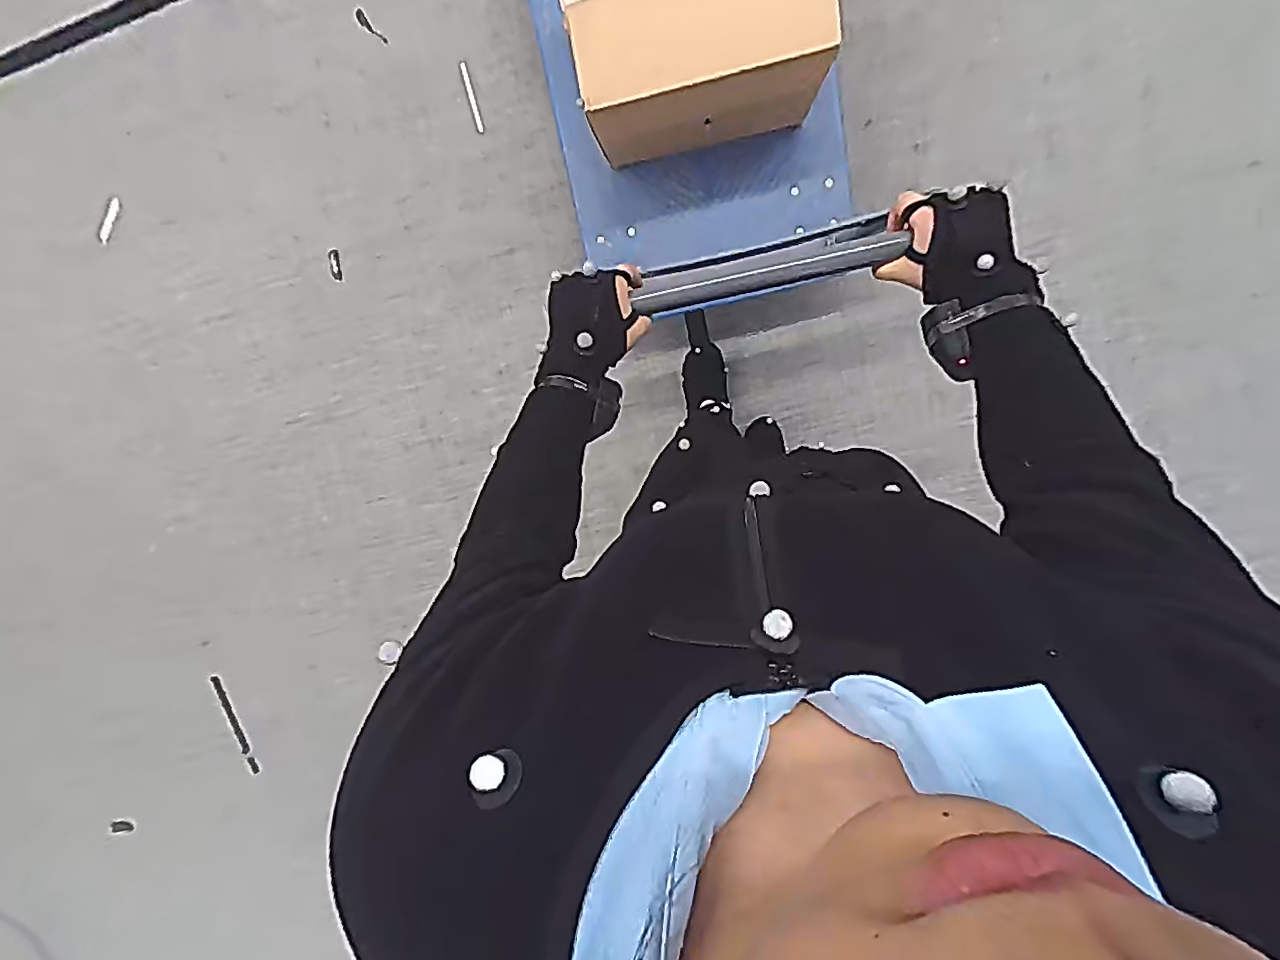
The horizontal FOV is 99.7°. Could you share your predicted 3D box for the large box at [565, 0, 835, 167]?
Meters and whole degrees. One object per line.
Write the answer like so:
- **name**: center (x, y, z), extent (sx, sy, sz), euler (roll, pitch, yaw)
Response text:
- **large box**: center (0.097, -0.814, 0.969), extent (0.408, 0.320, 0.320), euler (-9, 103, 9)
